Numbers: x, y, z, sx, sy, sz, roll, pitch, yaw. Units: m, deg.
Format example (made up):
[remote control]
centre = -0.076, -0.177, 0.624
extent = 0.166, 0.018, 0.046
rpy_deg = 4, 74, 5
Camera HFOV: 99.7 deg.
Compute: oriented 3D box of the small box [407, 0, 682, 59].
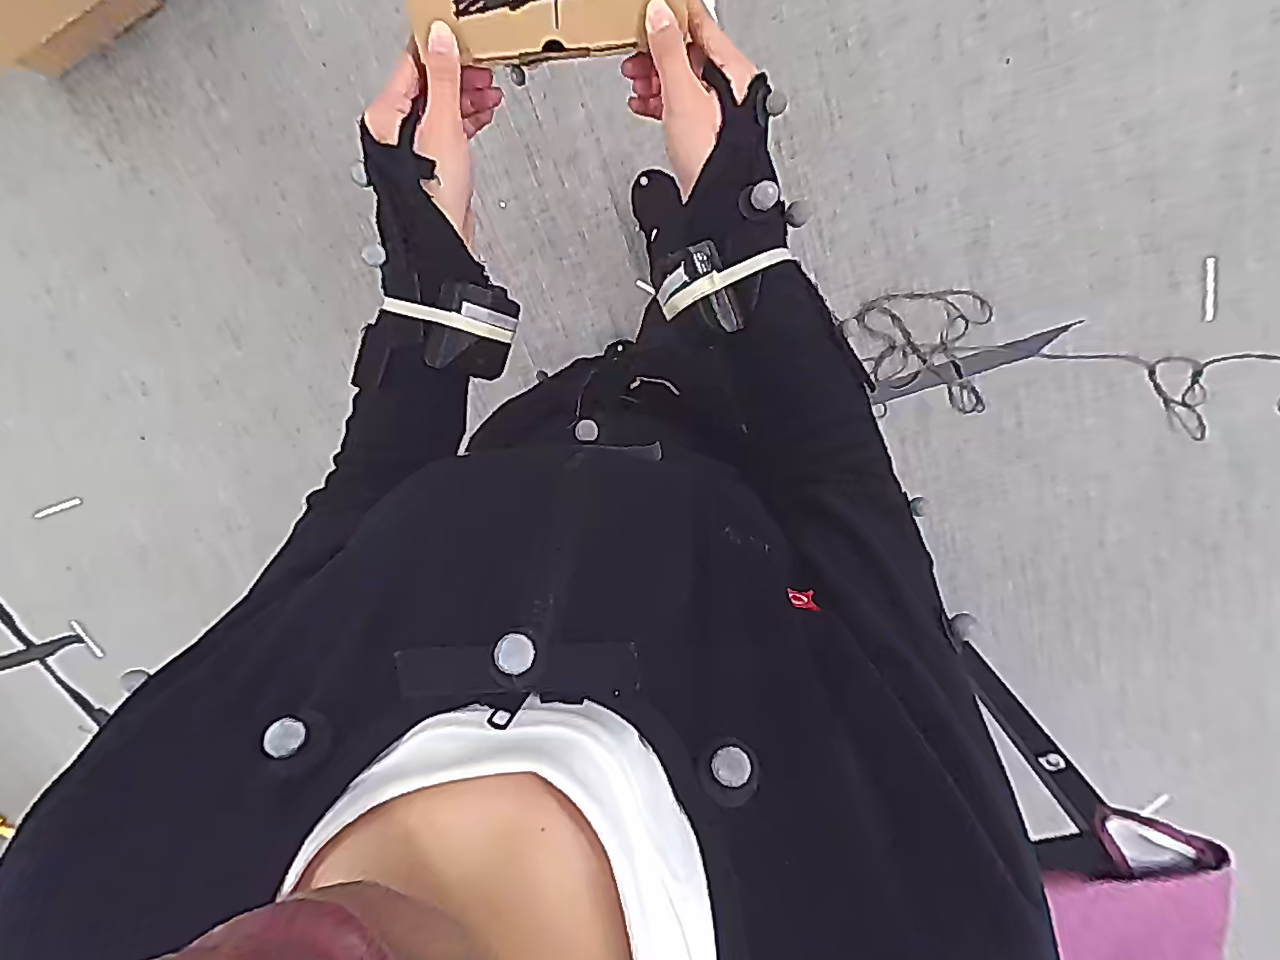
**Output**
[small box]
centre = -0.058, -0.381, 0.339
extent = 0.168, 0.176, 0.179
rpy_deg = -3, 127, 3
